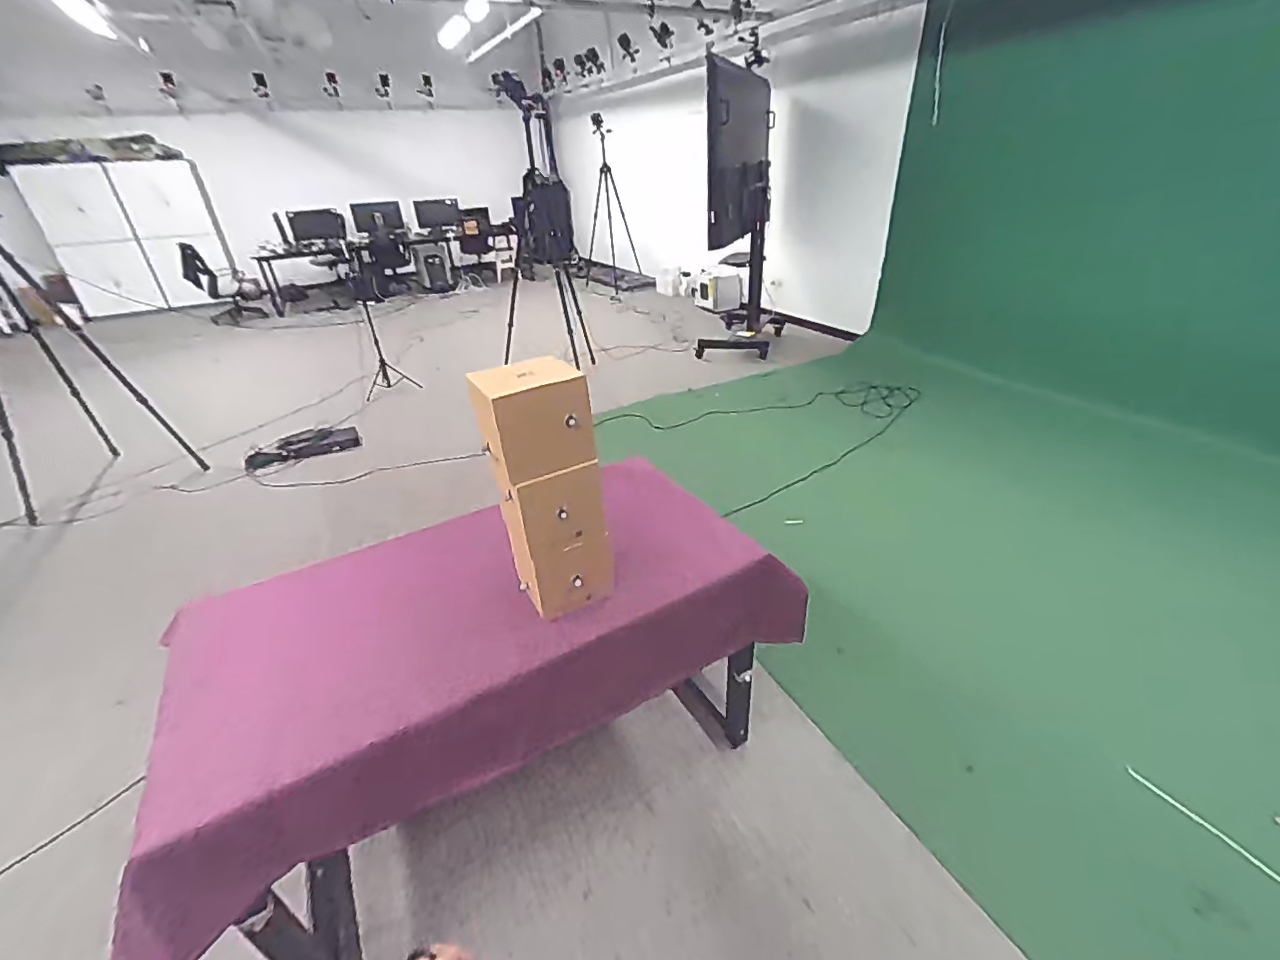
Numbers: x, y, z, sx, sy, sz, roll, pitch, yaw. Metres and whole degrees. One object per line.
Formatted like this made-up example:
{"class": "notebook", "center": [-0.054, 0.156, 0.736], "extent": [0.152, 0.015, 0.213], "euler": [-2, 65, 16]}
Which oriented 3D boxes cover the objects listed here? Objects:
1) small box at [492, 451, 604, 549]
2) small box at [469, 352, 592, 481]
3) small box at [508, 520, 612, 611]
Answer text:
{"class": "small box", "center": [-0.183, 0.019, 1.087], "extent": [0.168, 0.176, 0.179], "euler": [-19, 34, -24]}
{"class": "small box", "center": [-0.198, -0.121, 1.006], "extent": [0.179, 0.176, 0.168], "euler": [-20, 33, -24]}
{"class": "small box", "center": [-0.171, 0.160, 1.174], "extent": [0.168, 0.176, 0.179], "euler": [-18, 35, -24]}
